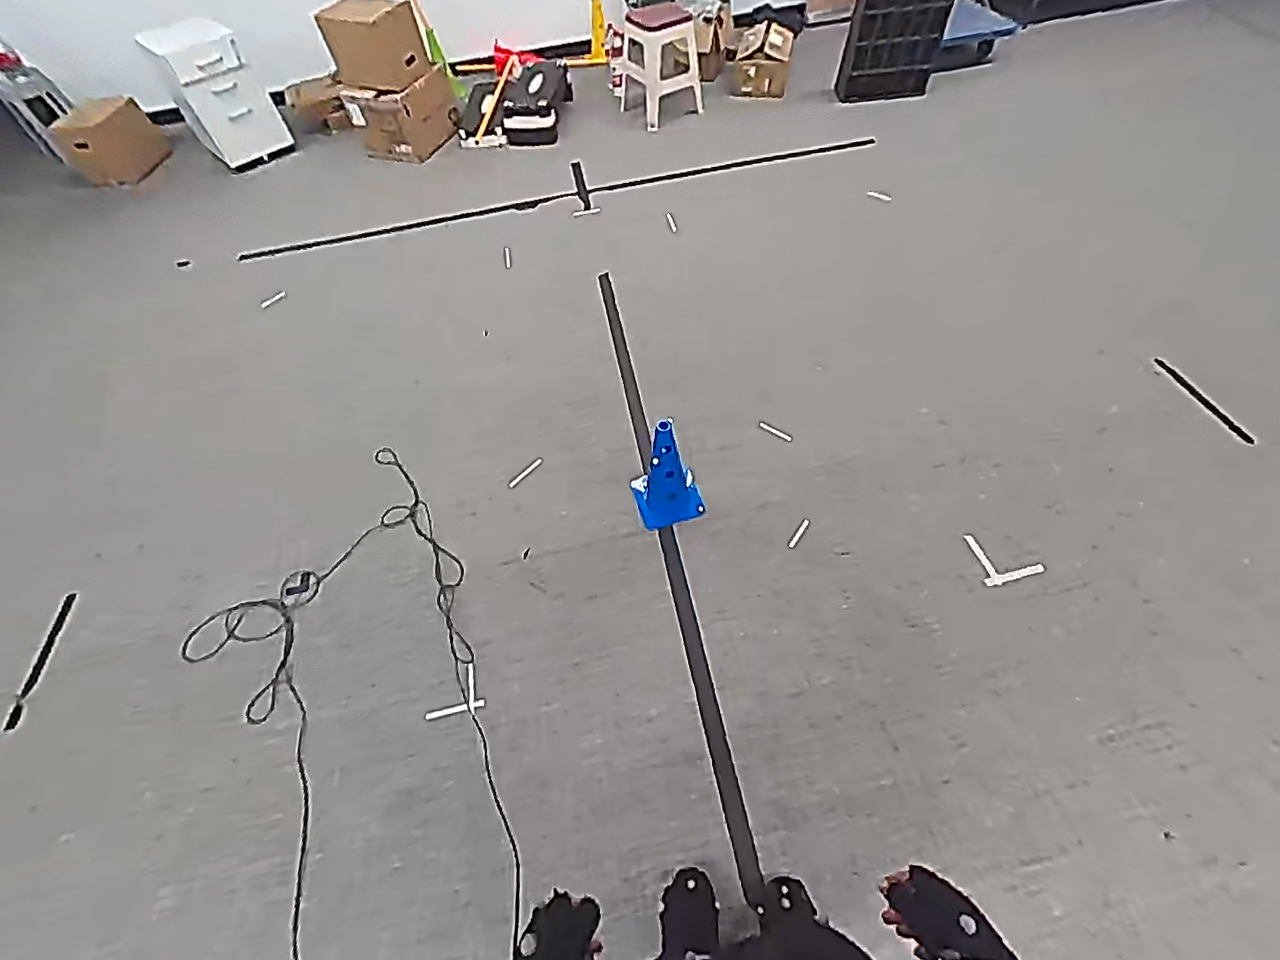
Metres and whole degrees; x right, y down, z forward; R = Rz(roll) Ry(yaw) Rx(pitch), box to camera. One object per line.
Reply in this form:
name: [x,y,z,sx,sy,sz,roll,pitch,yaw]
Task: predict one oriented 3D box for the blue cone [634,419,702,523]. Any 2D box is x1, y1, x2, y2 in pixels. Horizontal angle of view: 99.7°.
blue cone: [0.076,-0.045,1.593,0.192,0.380,0.193,-14,56,-6]
